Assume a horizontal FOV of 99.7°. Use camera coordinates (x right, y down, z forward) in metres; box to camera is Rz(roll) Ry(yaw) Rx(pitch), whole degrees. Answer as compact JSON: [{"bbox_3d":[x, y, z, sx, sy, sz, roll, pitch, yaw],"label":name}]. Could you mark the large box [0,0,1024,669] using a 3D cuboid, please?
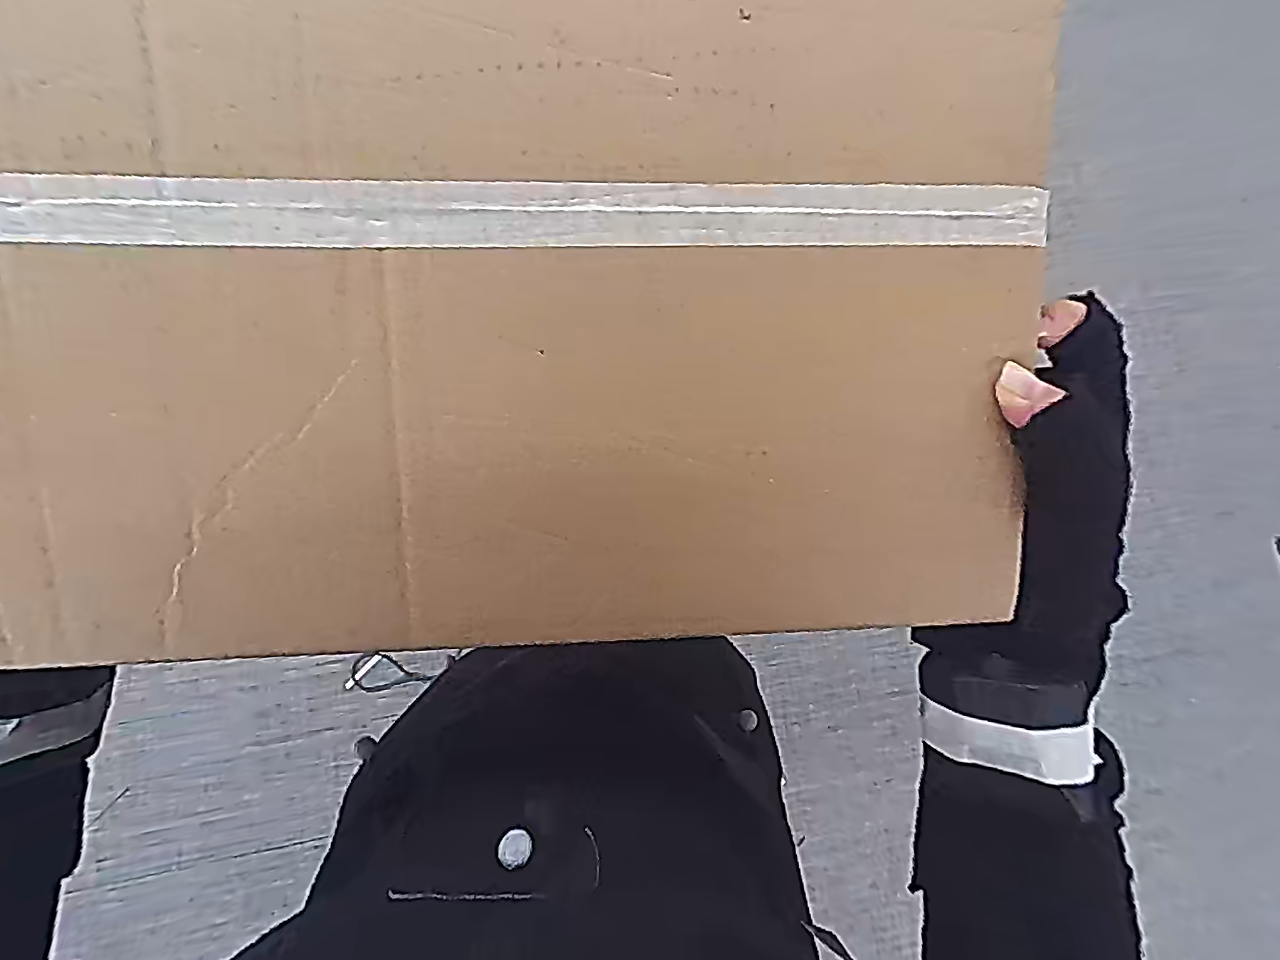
[{"bbox_3d":[-0.065,-0.108,0.346,0.408,0.320,0.320,-2,98,-5],"label":"large box"}]
